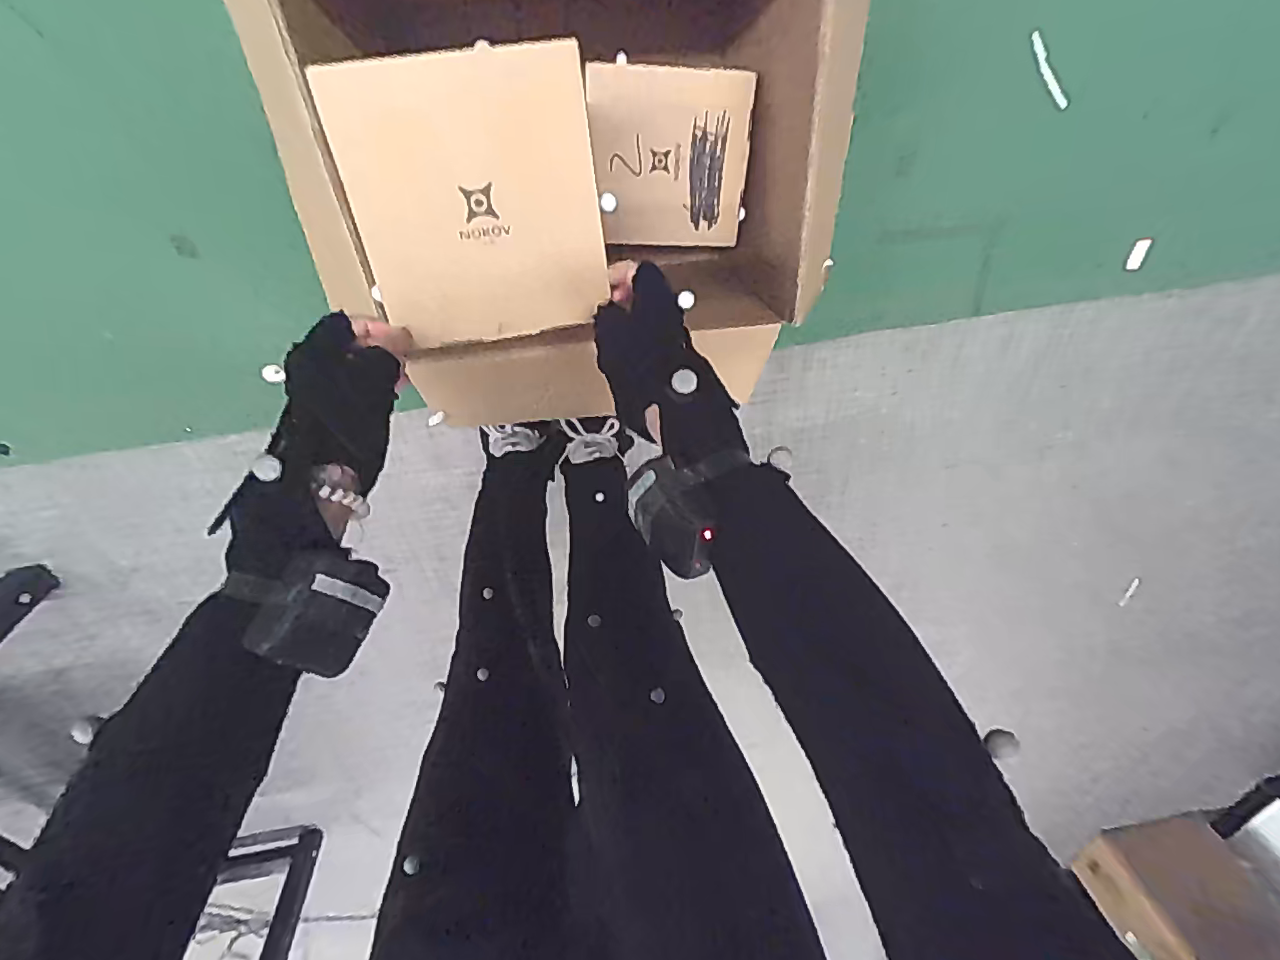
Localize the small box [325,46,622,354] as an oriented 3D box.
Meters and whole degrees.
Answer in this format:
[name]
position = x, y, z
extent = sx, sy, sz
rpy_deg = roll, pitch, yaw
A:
[small box]
position = -0.116, -0.220, 0.438
extent = 0.168, 0.176, 0.179
rpy_deg = -11, 122, -6
